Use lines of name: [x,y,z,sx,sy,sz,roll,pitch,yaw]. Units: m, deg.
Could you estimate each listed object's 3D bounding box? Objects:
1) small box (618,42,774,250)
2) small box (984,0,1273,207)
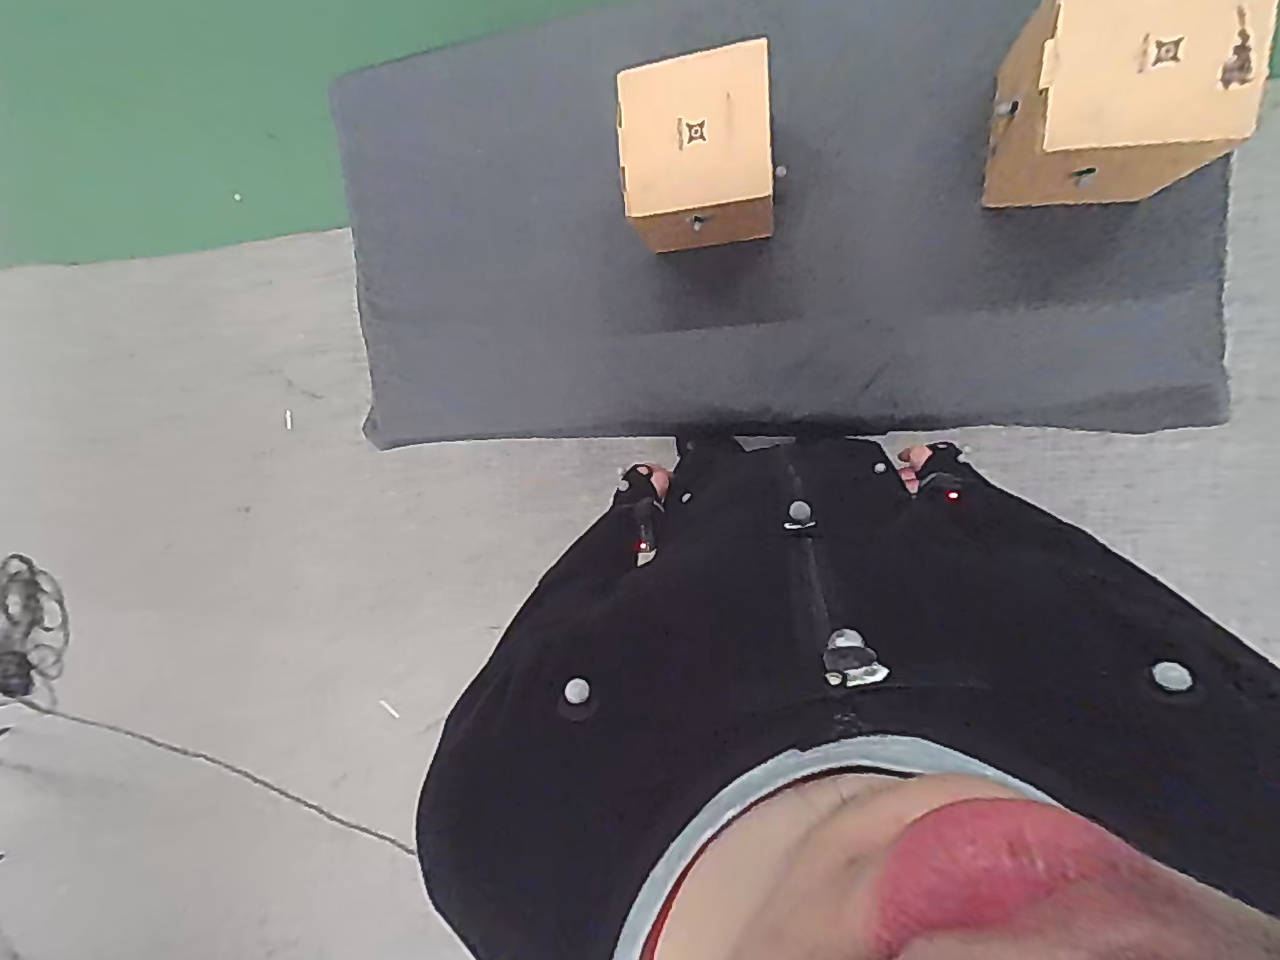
small box: [0.082,-0.411,0.702,0.179,0.176,0.168,-2,99,14]
small box: [0.503,-0.411,0.586,0.179,0.176,0.168,5,100,15]
